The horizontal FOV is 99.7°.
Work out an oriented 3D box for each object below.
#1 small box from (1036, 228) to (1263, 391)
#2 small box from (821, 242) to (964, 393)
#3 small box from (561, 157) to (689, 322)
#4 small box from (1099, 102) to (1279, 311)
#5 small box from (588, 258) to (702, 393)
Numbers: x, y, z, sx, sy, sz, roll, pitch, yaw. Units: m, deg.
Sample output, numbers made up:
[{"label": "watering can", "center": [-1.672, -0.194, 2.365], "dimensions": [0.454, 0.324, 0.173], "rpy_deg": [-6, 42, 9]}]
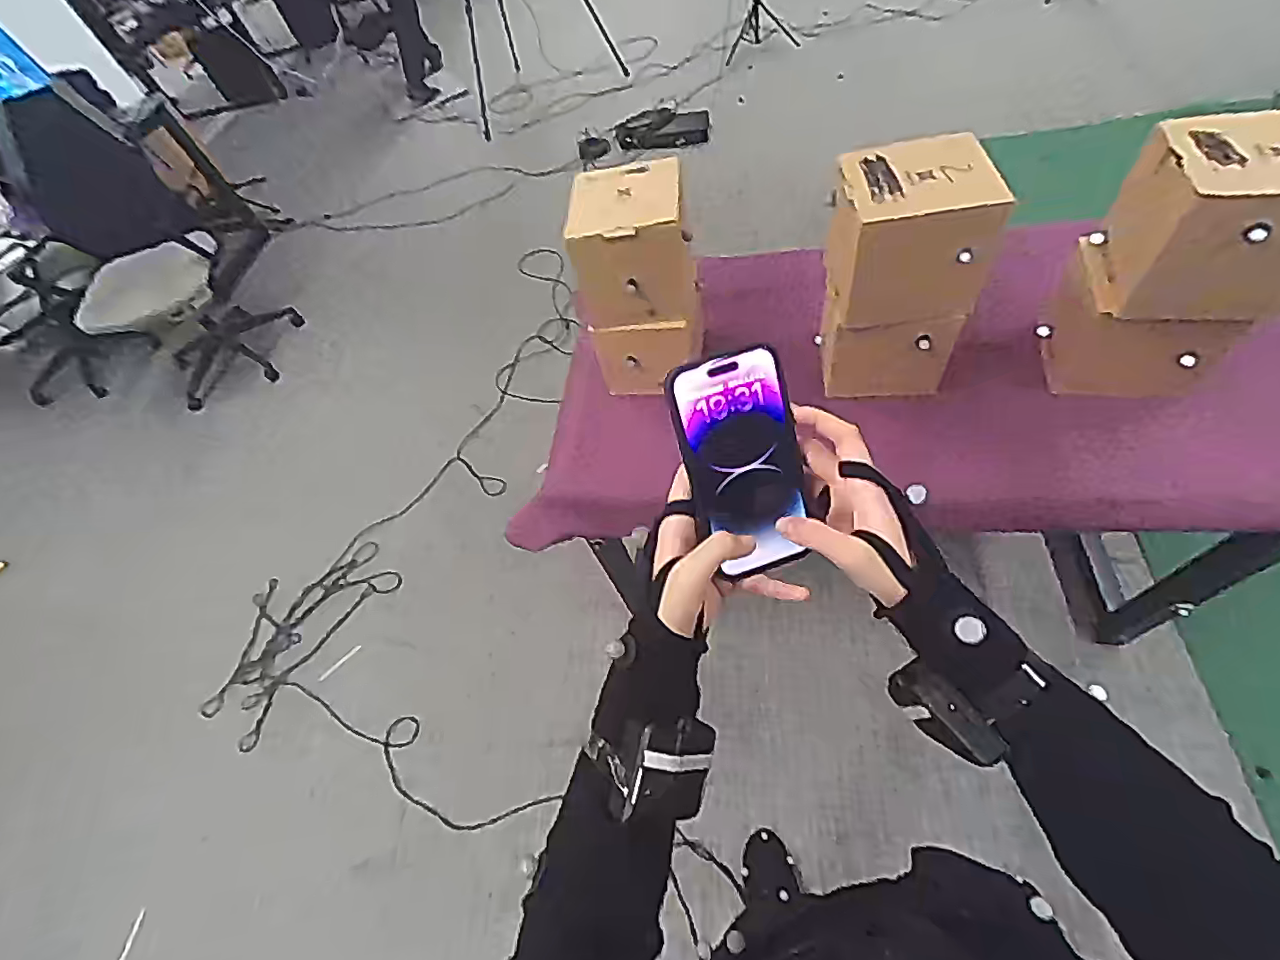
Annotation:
[{"label": "small box", "center": [0.725, -0.246, 0.795], "dimensions": [0.179, 0.176, 0.168], "rpy_deg": [5, 58, 17]}, {"label": "small box", "center": [0.396, -0.257, 0.882], "dimensions": [0.179, 0.176, 0.168], "rpy_deg": [0, 57, 14]}, {"label": "small box", "center": [-0.013, -0.369, 0.856], "dimensions": [0.168, 0.176, 0.179], "rpy_deg": [-4, 57, 11]}, {"label": "small box", "center": [0.699, -0.322, 0.652], "dimensions": [0.179, 0.176, 0.168], "rpy_deg": [5, 58, 16]}, {"label": "small box", "center": [0.019, -0.273, 0.986], "dimensions": [0.168, 0.176, 0.179], "rpy_deg": [0, 57, 14]}]
